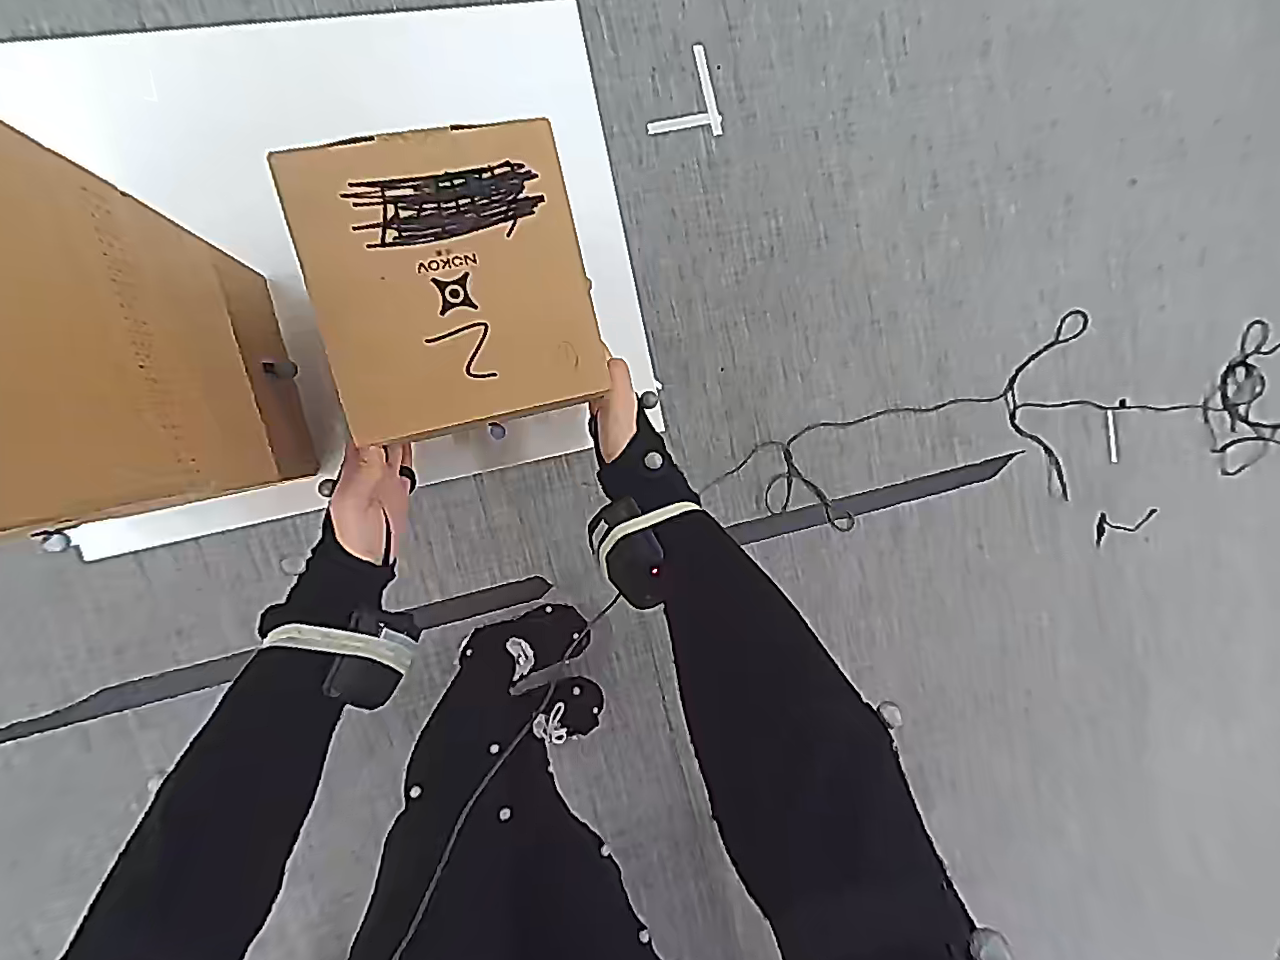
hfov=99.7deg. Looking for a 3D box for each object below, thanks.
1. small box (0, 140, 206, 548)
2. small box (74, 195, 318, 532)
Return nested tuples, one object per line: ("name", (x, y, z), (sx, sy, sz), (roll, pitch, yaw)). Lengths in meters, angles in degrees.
("small box", (-0.323, -0.047, 0.211), (0.168, 0.176, 0.179), (-15, 97, -10))
("small box", (-0.356, -0.061, 0.369), (0.168, 0.176, 0.179), (-13, 96, -9))
